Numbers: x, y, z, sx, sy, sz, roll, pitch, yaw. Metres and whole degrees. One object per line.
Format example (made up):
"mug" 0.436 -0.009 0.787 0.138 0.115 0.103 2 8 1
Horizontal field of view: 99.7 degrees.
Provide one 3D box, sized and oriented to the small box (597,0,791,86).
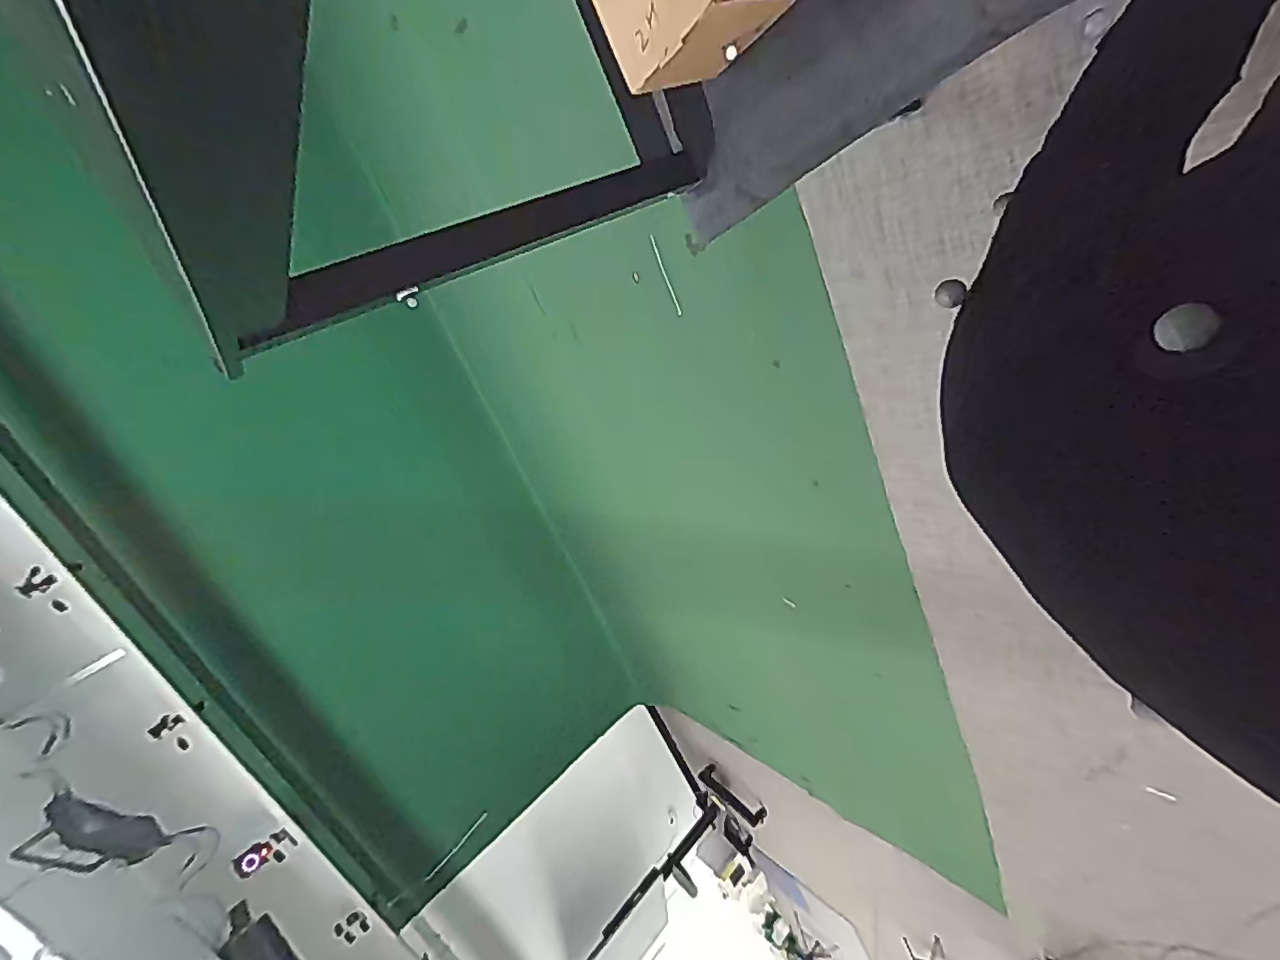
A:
"small box" 0.058 -0.626 0.655 0.168 0.176 0.179 -1 119 57
